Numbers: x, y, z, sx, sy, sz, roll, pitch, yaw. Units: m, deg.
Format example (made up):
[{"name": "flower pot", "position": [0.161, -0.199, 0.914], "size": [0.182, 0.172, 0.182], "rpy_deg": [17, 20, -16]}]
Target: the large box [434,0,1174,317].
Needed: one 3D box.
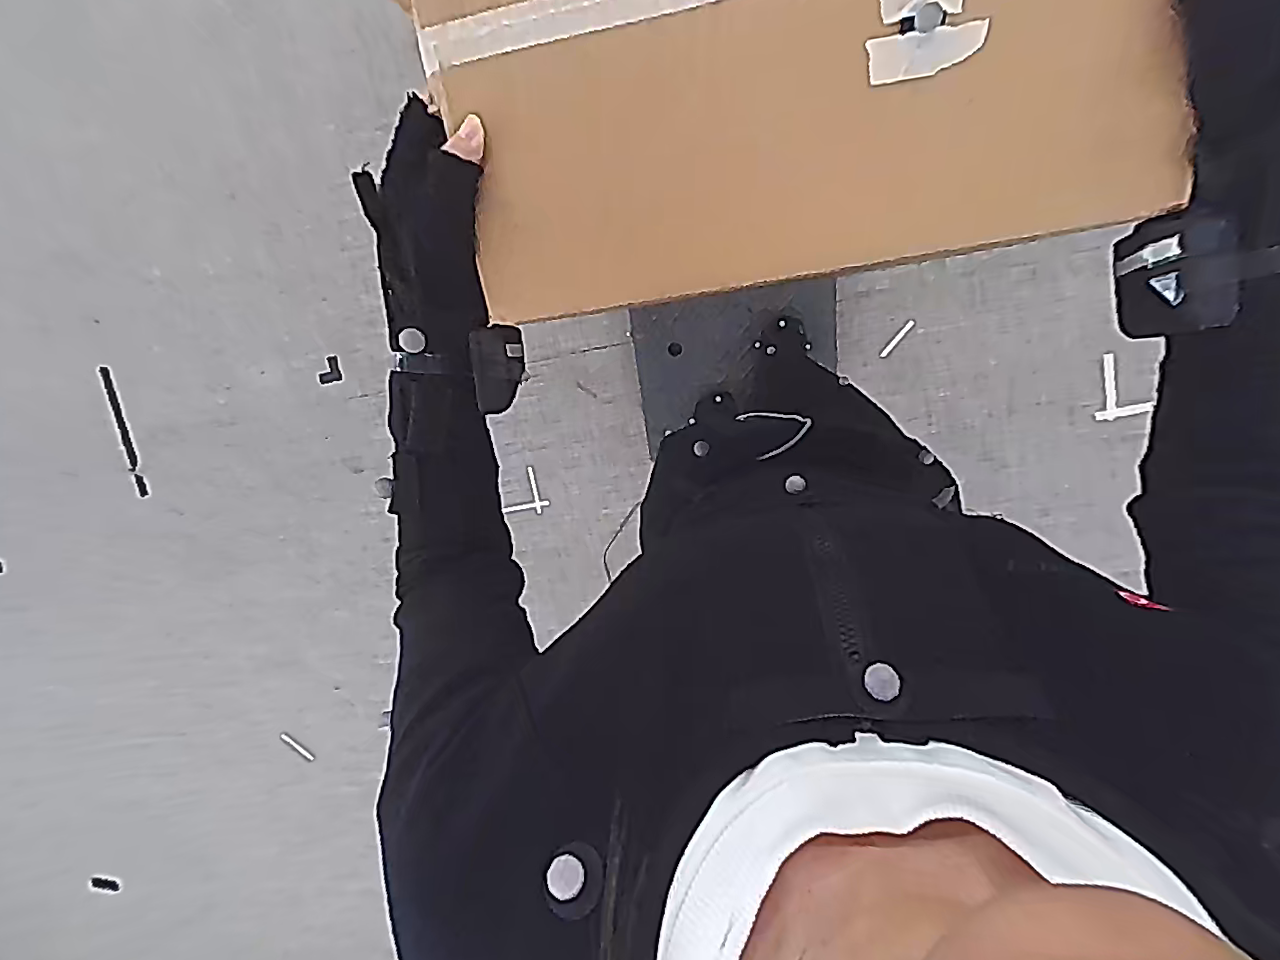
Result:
[{"name": "large box", "position": [0.091, -0.327, 0.439], "size": [0.408, 0.320, 0.320], "rpy_deg": [-7, 108, 8]}]

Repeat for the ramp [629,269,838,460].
[{"name": "ramp", "position": [0.200, -0.537, 1.256], "size": [0.509, 0.206, 0.991], "rpy_deg": [-8, 101, 8]}]
